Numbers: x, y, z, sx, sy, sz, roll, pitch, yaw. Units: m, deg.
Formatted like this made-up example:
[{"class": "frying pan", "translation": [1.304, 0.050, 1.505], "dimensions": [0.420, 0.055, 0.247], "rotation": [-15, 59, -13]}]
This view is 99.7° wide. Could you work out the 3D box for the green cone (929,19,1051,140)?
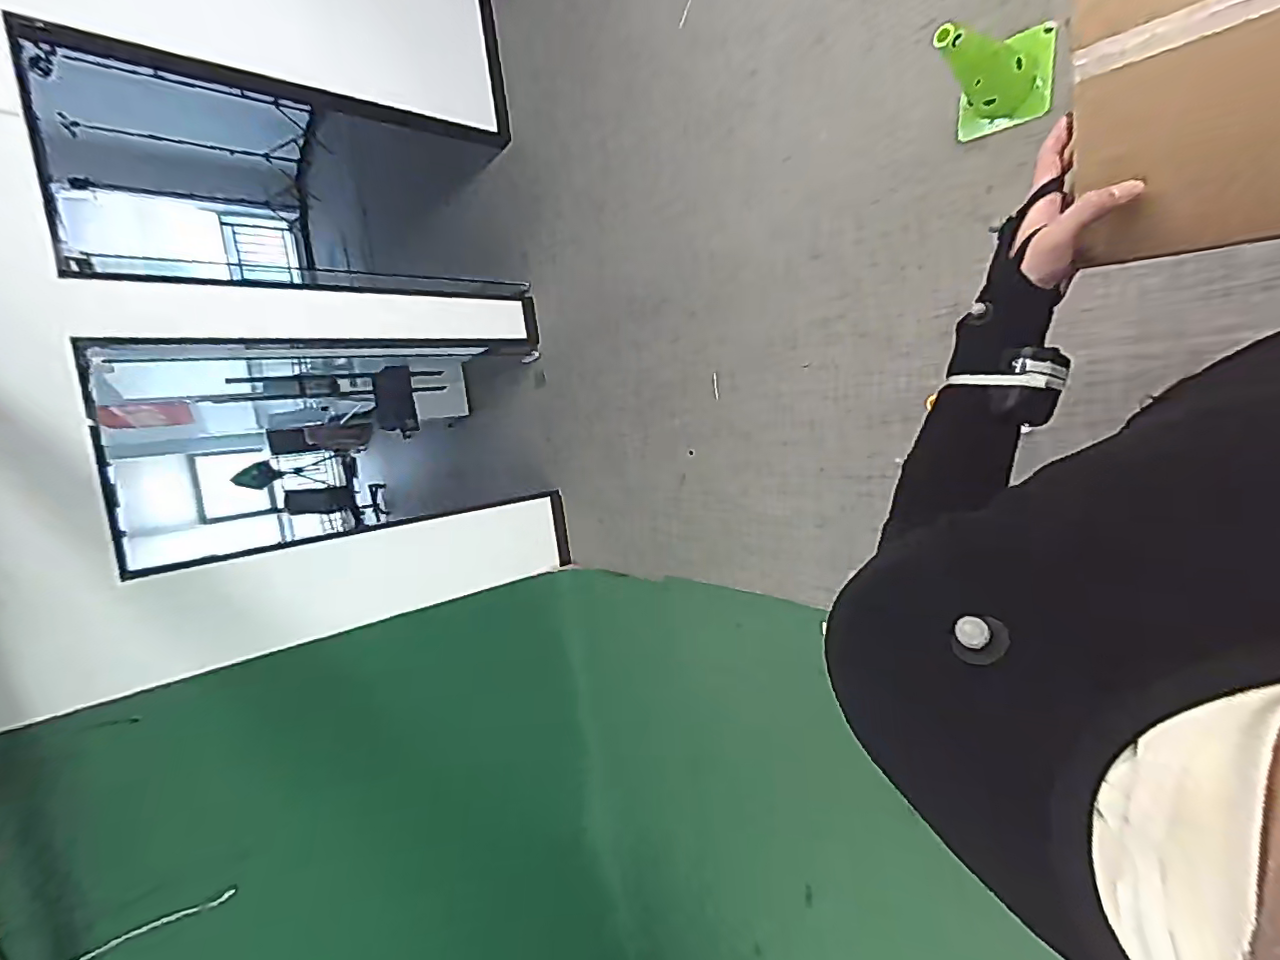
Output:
[{"class": "green cone", "translation": [0.756, -0.949, 1.231], "dimensions": [0.200, 0.368, 0.202], "rotation": [9, 108, 51]}]
